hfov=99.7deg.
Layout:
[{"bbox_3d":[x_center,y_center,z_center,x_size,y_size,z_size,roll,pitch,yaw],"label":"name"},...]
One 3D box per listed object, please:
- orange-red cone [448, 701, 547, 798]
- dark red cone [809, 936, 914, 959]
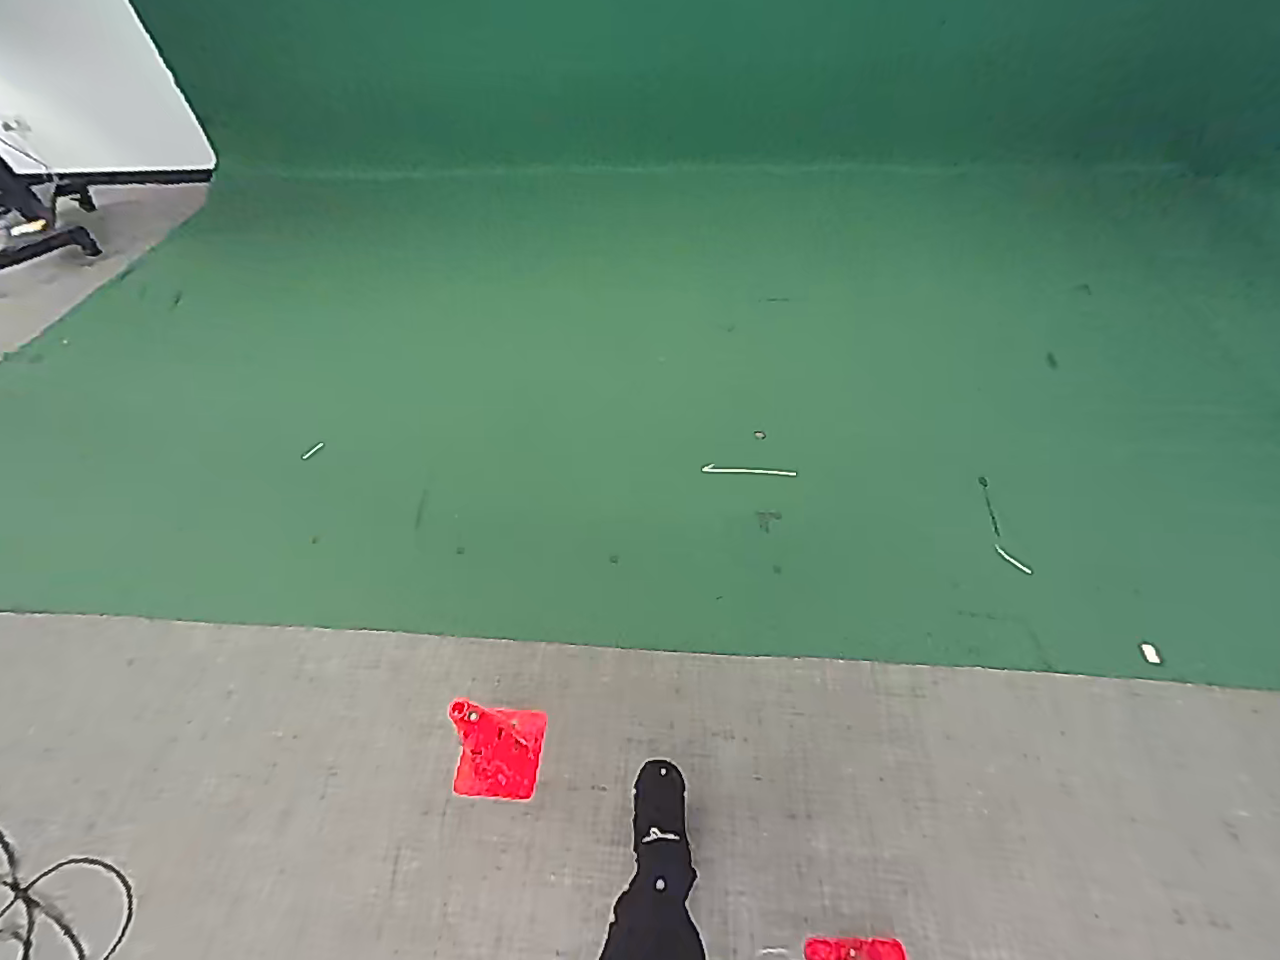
[{"bbox_3d":[-0.351,0.568,1.209,0.198,0.360,0.199,1,52,6],"label":"orange-red cone"},{"bbox_3d":[0.421,0.875,0.881,0.202,0.394,0.201,-3,50,2],"label":"dark red cone"}]
